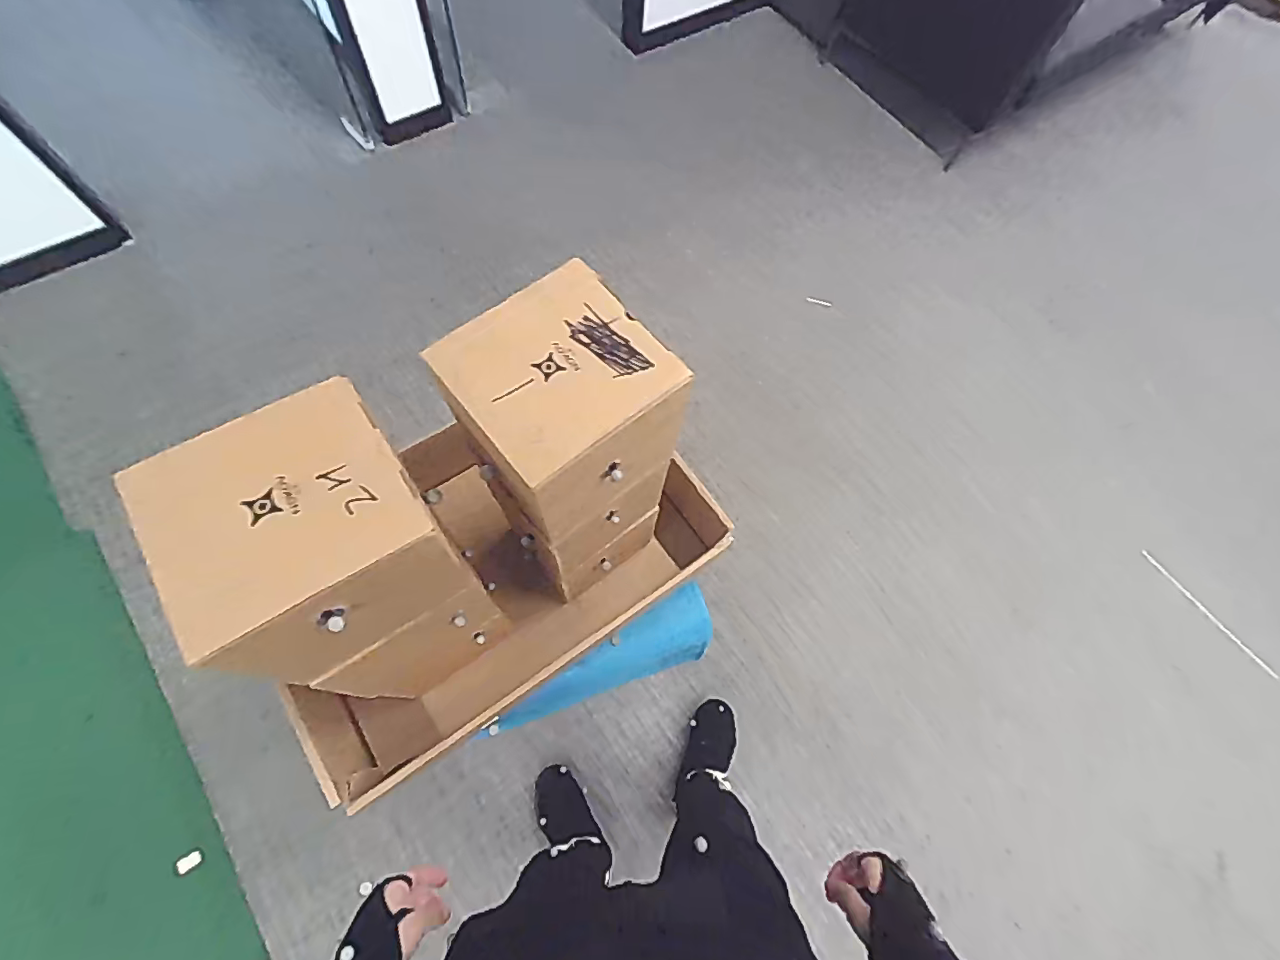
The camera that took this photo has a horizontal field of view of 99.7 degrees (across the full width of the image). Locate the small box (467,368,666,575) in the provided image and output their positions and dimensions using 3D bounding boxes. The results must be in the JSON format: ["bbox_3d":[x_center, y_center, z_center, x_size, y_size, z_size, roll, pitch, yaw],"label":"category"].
[{"bbox_3d":[-0.086,-0.001,0.696,0.179,0.176,0.168,-37,74,-16],"label":"small box"}]

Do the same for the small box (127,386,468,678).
[{"bbox_3d":[-0.279,0.056,0.481,0.179,0.176,0.168,-31,72,-18],"label":"small box"}]

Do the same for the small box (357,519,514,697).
[{"bbox_3d":[-0.303,0.192,0.780,0.179,0.176,0.168,-33,72,-18],"label":"small box"}]
